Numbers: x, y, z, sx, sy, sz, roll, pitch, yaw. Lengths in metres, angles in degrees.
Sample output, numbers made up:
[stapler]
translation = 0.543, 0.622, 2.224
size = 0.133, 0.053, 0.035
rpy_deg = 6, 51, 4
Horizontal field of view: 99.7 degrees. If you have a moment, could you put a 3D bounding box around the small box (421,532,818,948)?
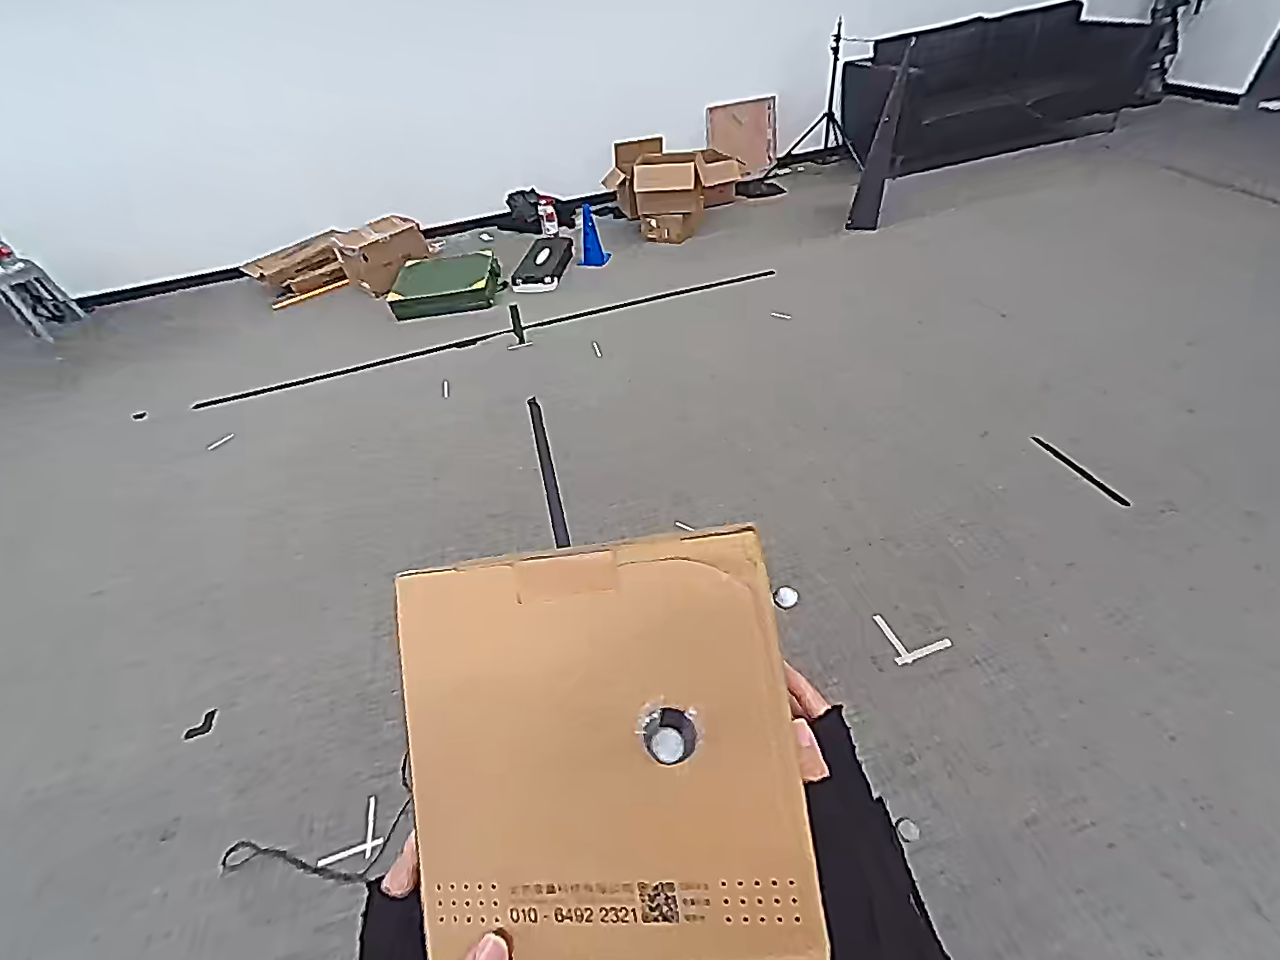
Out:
[small box]
translation = 0.001, 0.128, 0.318
size = 0.168, 0.179, 0.176
rpy_deg = -9, 84, 11
